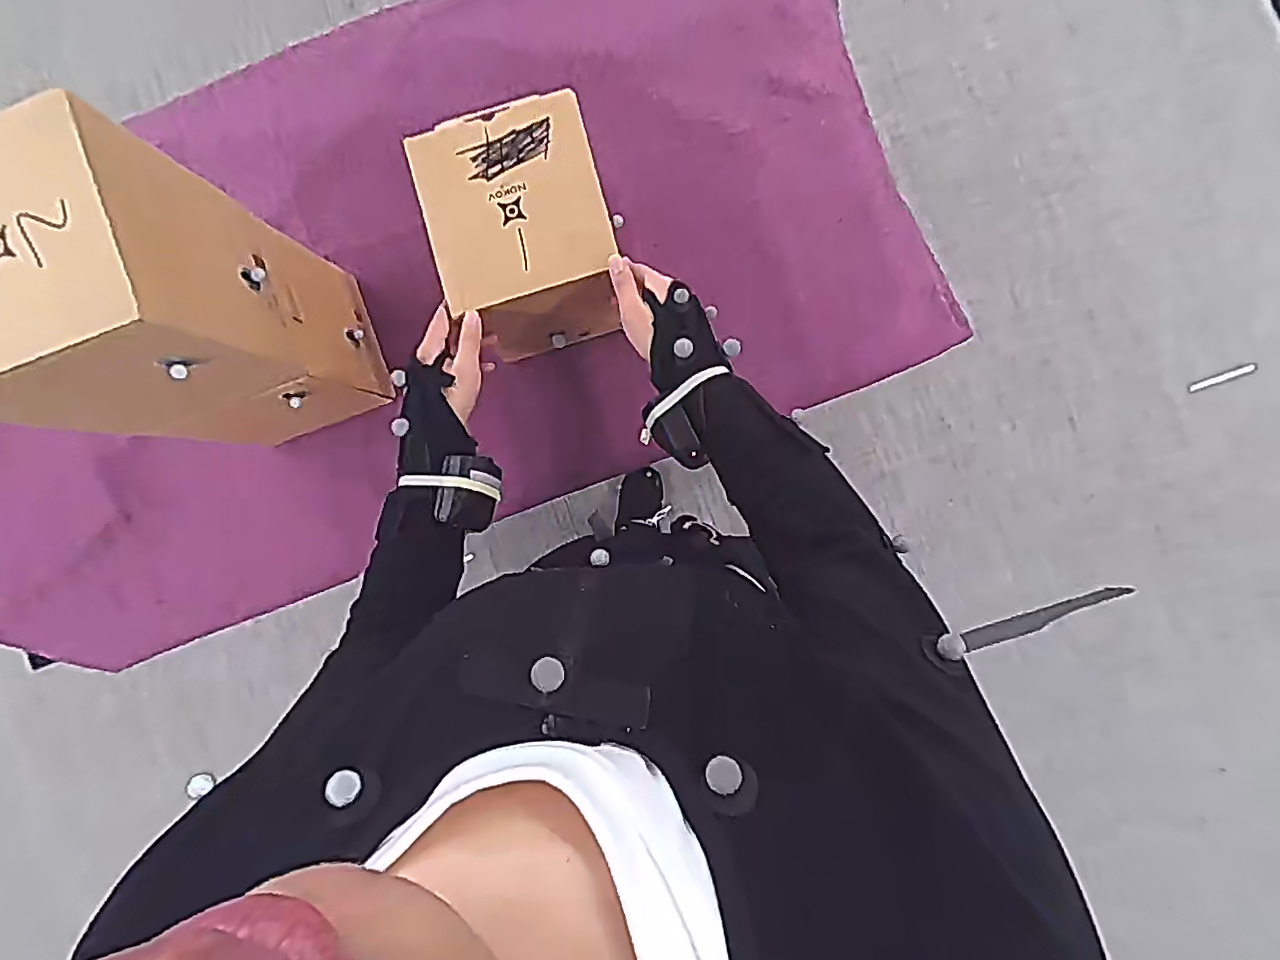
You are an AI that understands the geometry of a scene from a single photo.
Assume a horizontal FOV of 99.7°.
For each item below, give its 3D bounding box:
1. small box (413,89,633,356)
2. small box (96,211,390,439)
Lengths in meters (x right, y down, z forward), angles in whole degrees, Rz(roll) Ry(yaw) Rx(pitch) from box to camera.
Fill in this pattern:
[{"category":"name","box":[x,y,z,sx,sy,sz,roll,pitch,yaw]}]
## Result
[{"category":"small box","box":[-0.109,-0.253,0.574,0.168,0.176,0.179,-15,87,3]},{"category":"small box","box":[-0.417,-0.152,0.598,0.179,0.176,0.168,-20,89,2]}]
